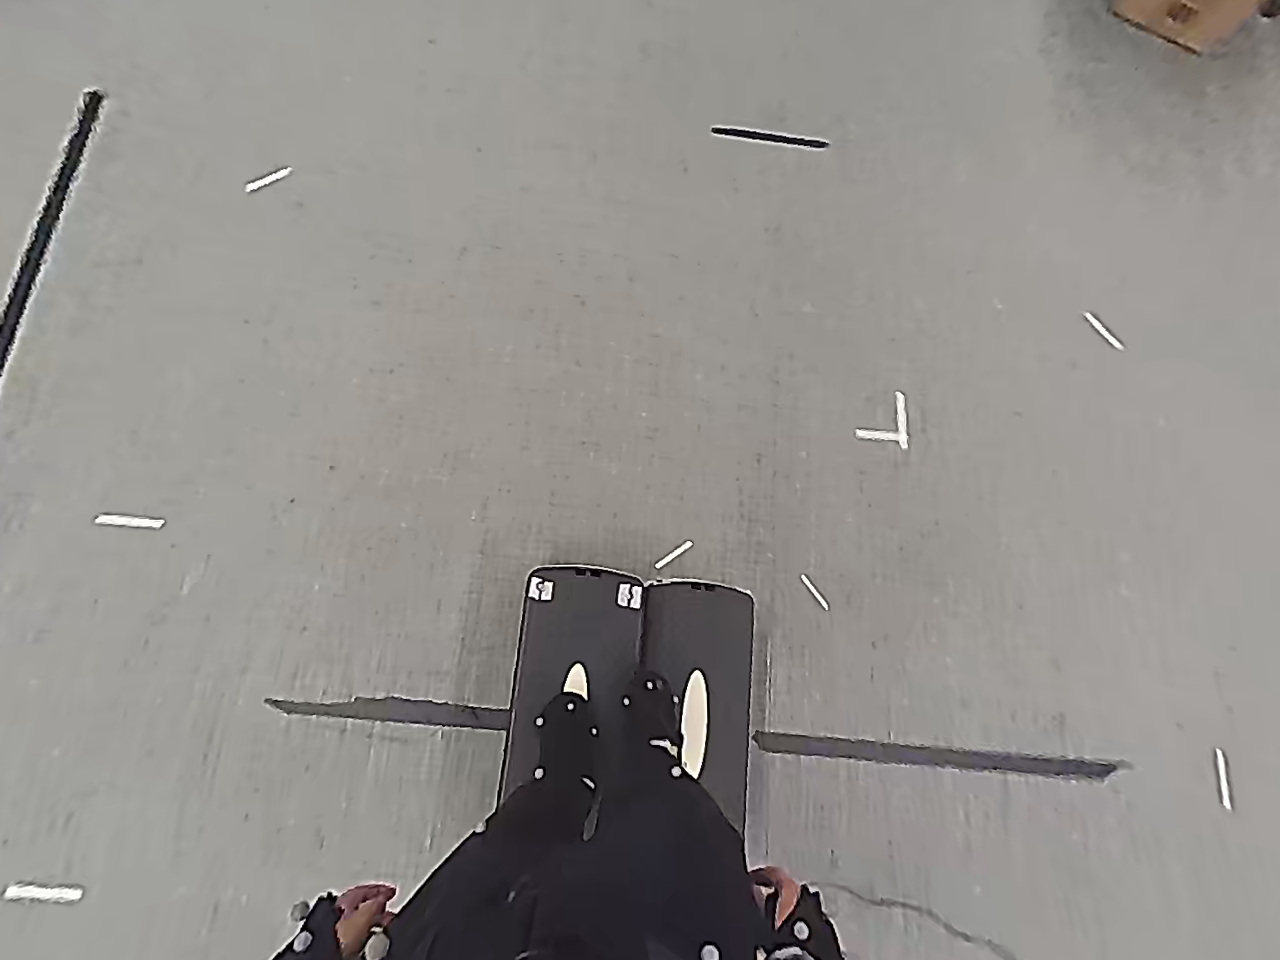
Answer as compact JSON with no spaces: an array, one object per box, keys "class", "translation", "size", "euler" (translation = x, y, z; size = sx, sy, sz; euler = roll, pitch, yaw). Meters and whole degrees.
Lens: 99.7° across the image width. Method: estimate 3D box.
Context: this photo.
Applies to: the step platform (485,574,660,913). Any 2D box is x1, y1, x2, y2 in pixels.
[{"class":"step platform","translation":[-0.141,0.564,1.241],"size":[0.286,0.204,0.684],"euler":[10,74,-3]}]
